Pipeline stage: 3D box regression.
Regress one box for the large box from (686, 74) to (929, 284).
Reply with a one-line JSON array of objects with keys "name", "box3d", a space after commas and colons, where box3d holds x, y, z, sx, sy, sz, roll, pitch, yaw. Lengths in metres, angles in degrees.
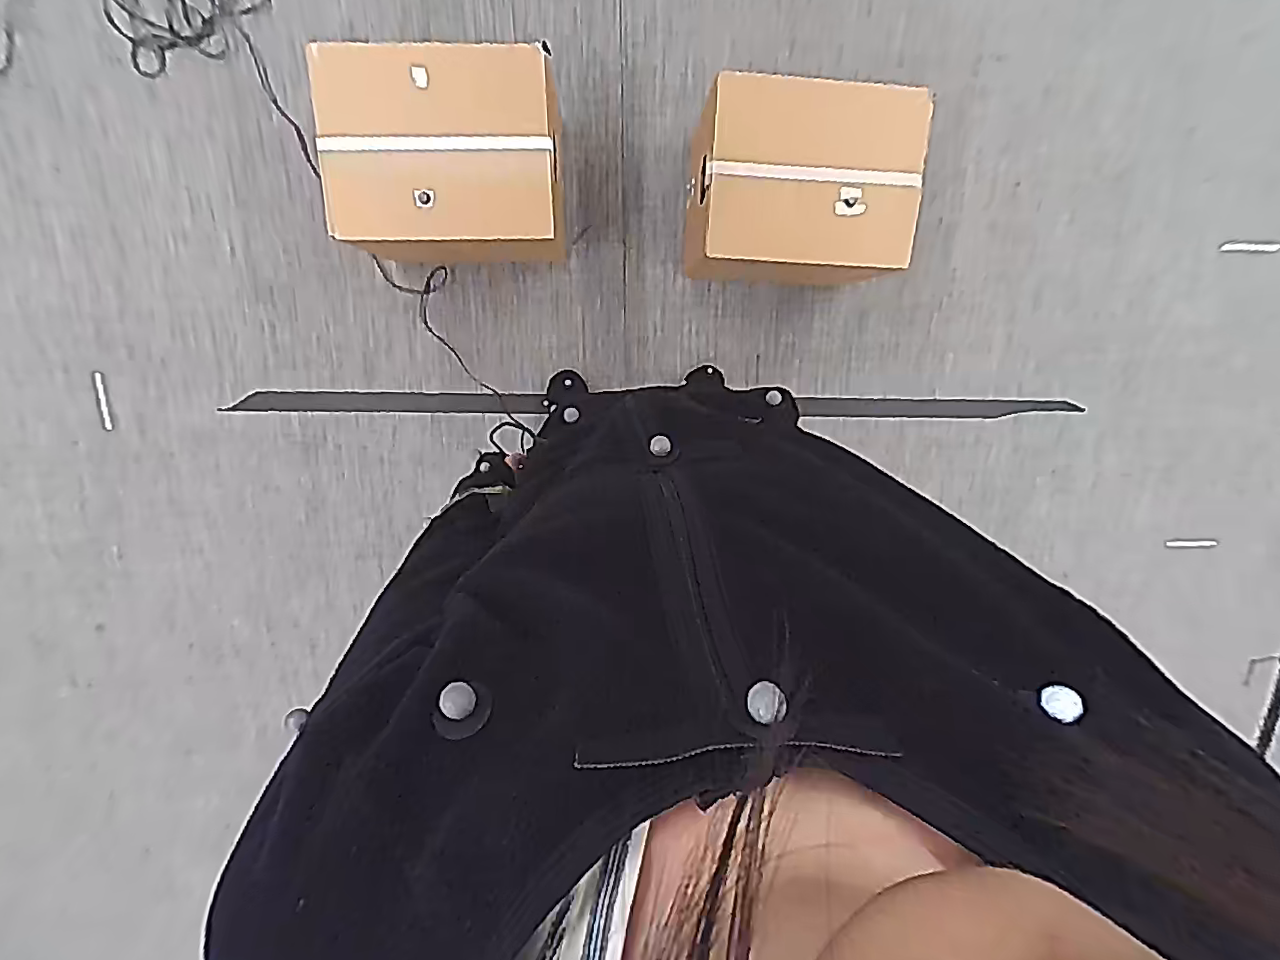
[{"name": "large box", "box3d": [0.322, -0.609, 1.161, 0.408, 0.320, 0.320, 2, 104, -5]}]
